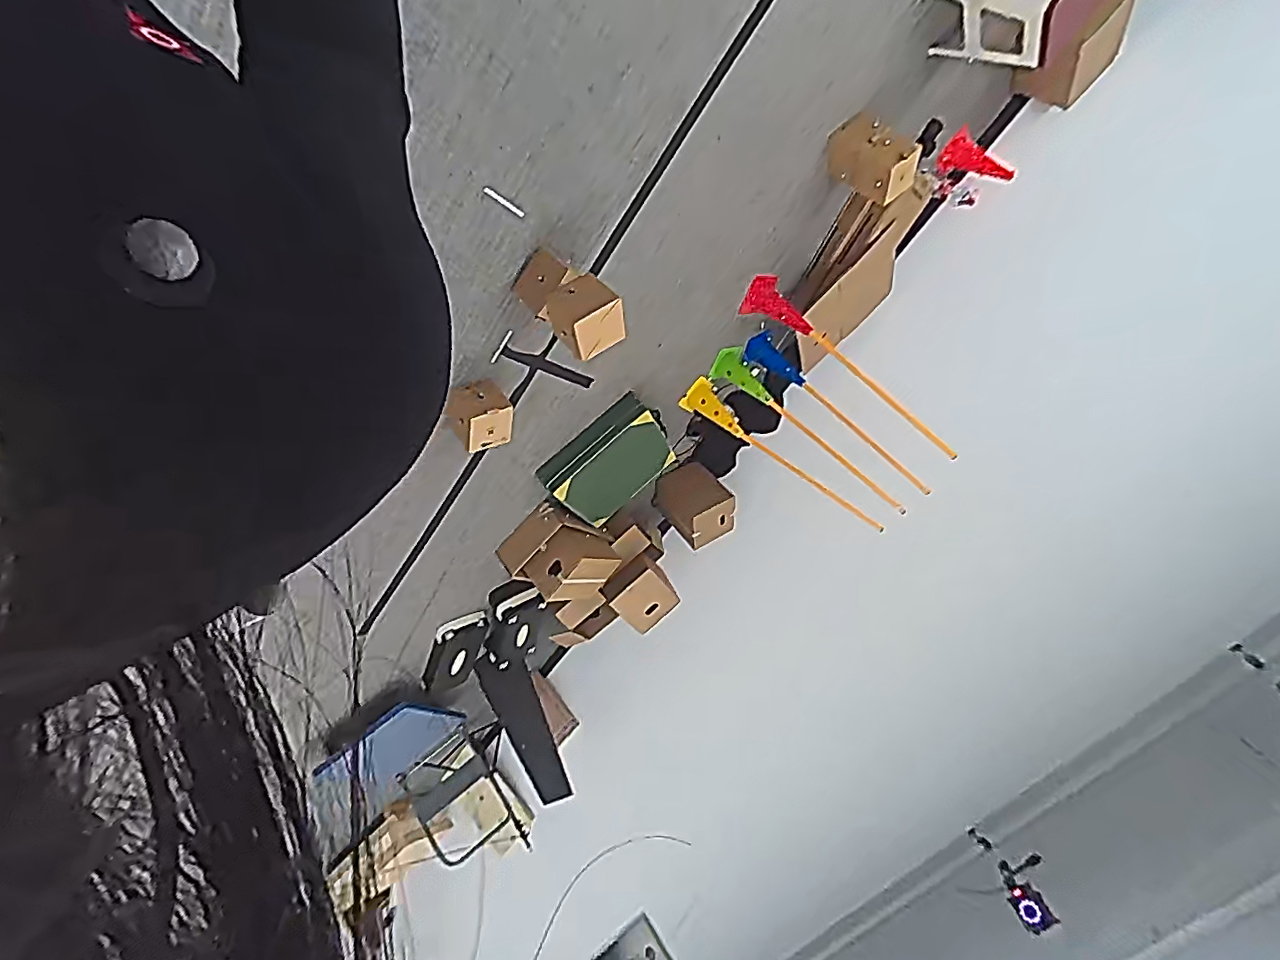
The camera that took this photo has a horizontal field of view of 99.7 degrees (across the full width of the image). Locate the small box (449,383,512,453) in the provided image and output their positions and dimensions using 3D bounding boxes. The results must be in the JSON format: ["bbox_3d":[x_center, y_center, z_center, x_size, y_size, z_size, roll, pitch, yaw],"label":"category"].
[{"bbox_3d":[-0.583,-0.234,1.966,0.168,0.176,0.179,-21,146,-34],"label":"small box"}]

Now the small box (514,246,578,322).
[{"bbox_3d":[-0.289,-0.631,1.784,0.179,0.176,0.168,-52,153,16],"label":"small box"}]

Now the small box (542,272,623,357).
[{"bbox_3d":[-0.180,-0.520,1.720,0.179,0.176,0.168,-36,153,-15],"label":"small box"}]
